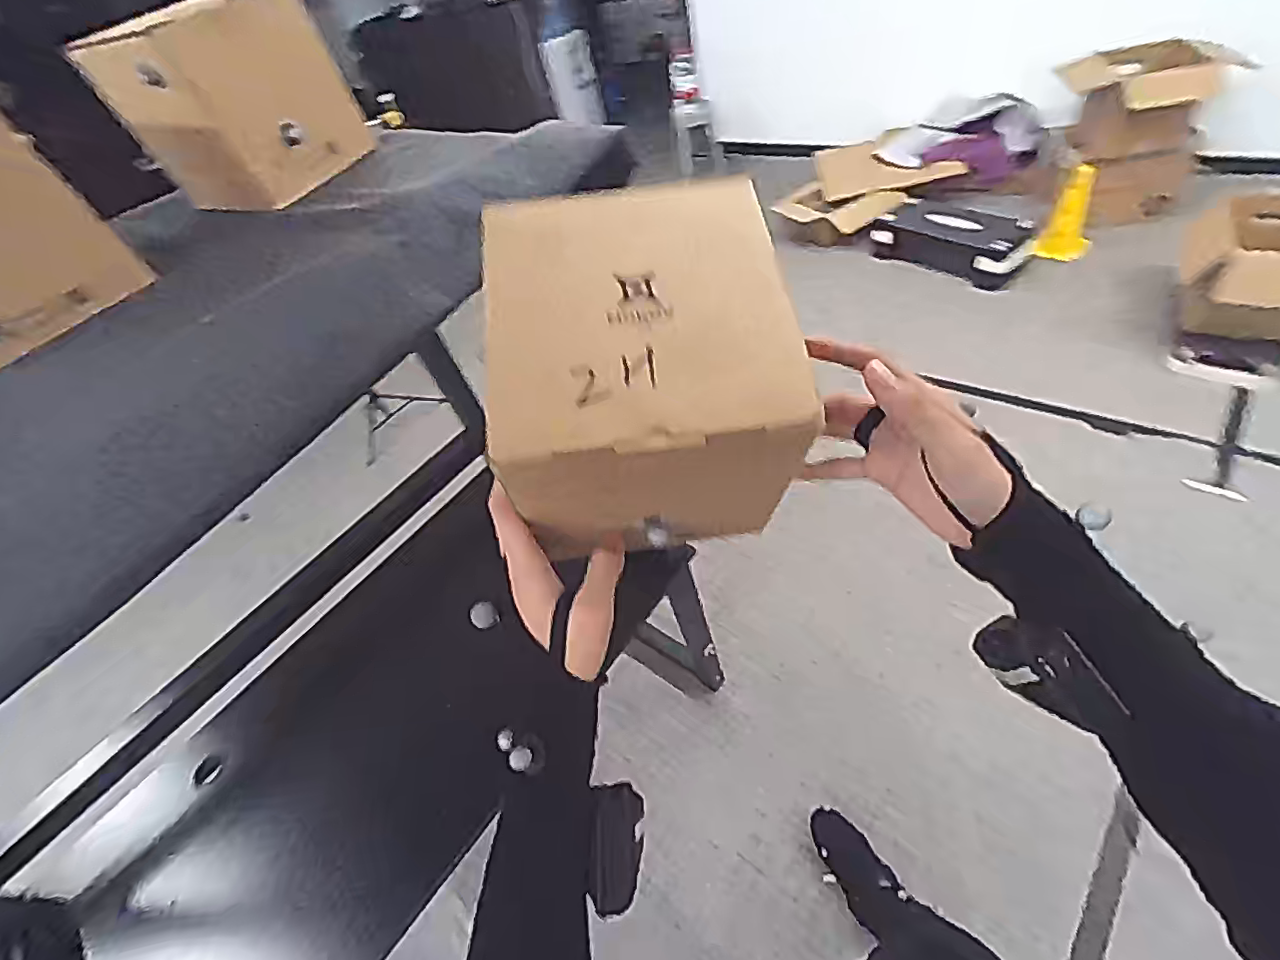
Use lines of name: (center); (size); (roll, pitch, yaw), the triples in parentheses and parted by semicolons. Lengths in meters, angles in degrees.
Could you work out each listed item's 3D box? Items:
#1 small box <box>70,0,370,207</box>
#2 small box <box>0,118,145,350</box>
small box: (-0.461, -0.435, 0.620); (0.179, 0.176, 0.168); (15, 57, 25)
small box: (-0.615, -0.230, 0.492); (0.179, 0.176, 0.168); (22, 59, 32)
